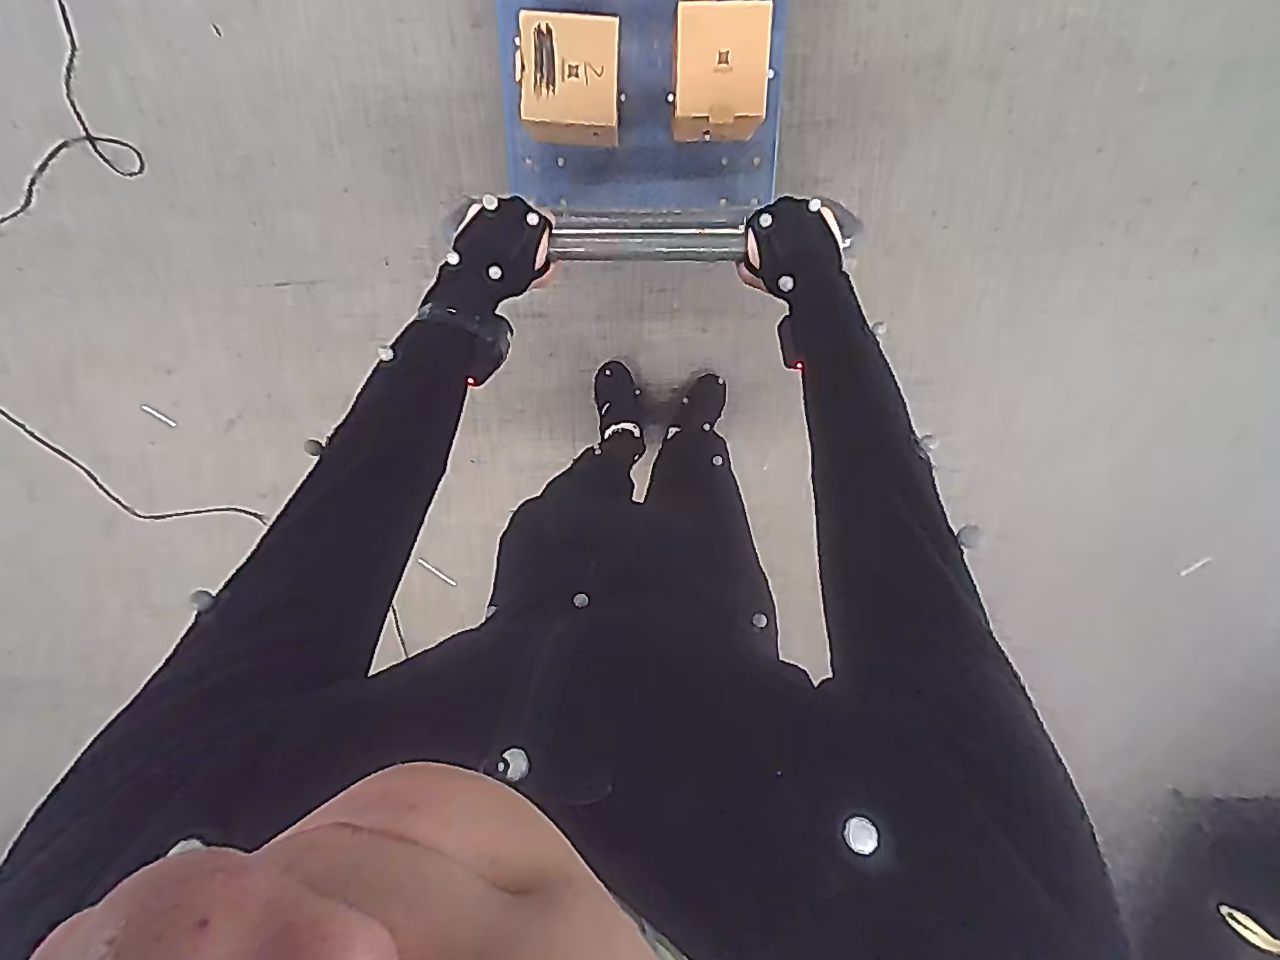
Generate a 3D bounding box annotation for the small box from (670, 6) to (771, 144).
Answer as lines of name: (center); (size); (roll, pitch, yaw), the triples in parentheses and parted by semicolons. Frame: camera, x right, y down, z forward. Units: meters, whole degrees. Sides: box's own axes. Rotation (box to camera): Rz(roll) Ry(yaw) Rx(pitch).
small box: (0.146, -0.770, 1.043); (0.168, 0.176, 0.179); (-1, 111, 0)
